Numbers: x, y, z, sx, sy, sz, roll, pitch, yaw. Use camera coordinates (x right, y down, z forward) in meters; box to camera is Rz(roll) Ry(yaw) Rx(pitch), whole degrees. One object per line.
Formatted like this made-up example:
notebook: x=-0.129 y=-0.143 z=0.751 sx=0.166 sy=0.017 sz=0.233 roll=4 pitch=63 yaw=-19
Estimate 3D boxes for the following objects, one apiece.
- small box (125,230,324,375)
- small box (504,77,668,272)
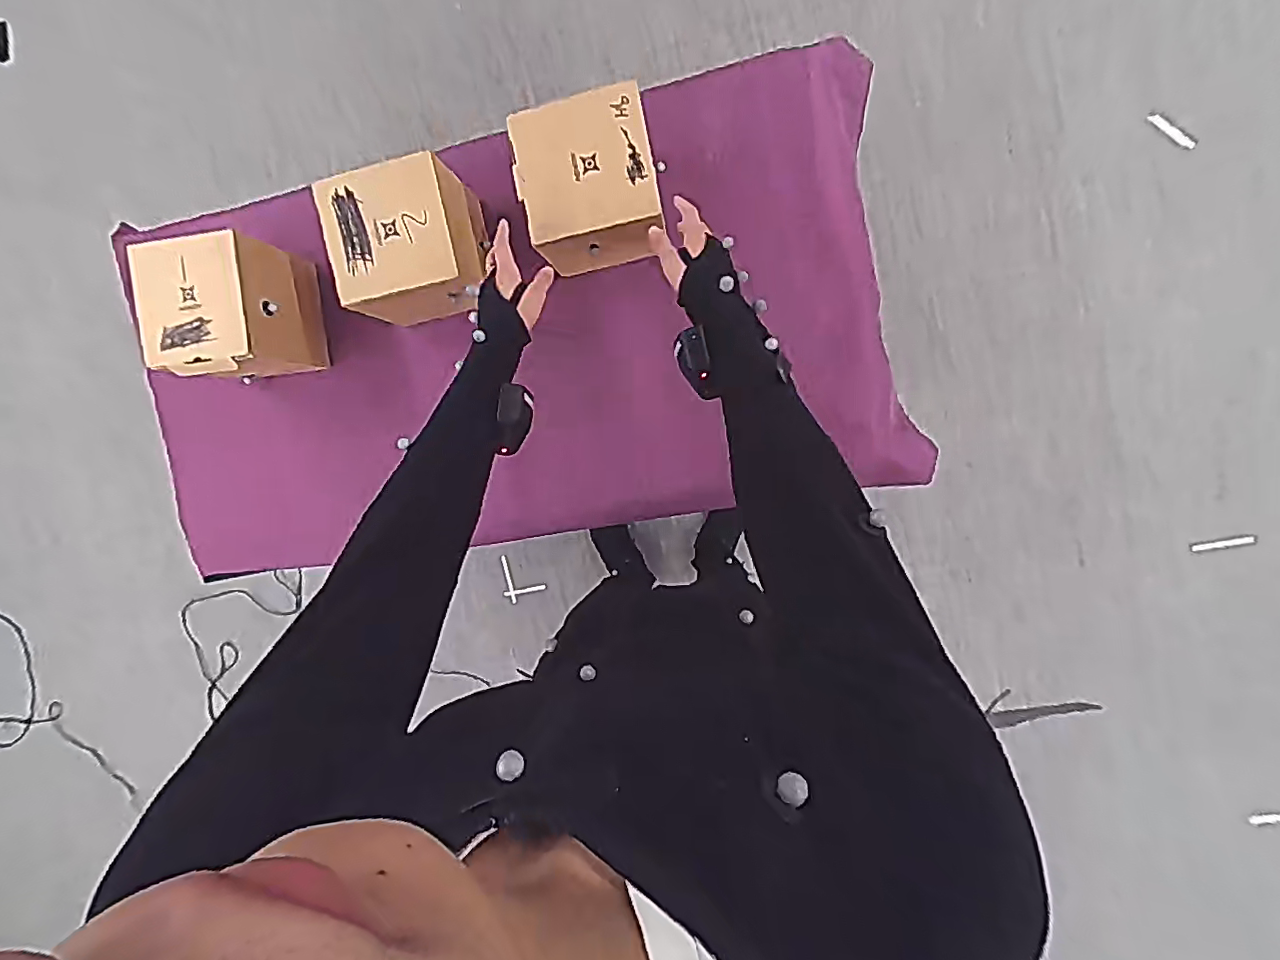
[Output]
small box: x=-0.619 y=-0.257 z=0.830 sx=0.168 sy=0.176 sz=0.179 roll=-5 pitch=95 yaw=6
small box: x=-0.064 y=-0.406 z=0.755 sx=0.179 sy=0.176 sz=0.168 roll=-10 pitch=97 yaw=8
